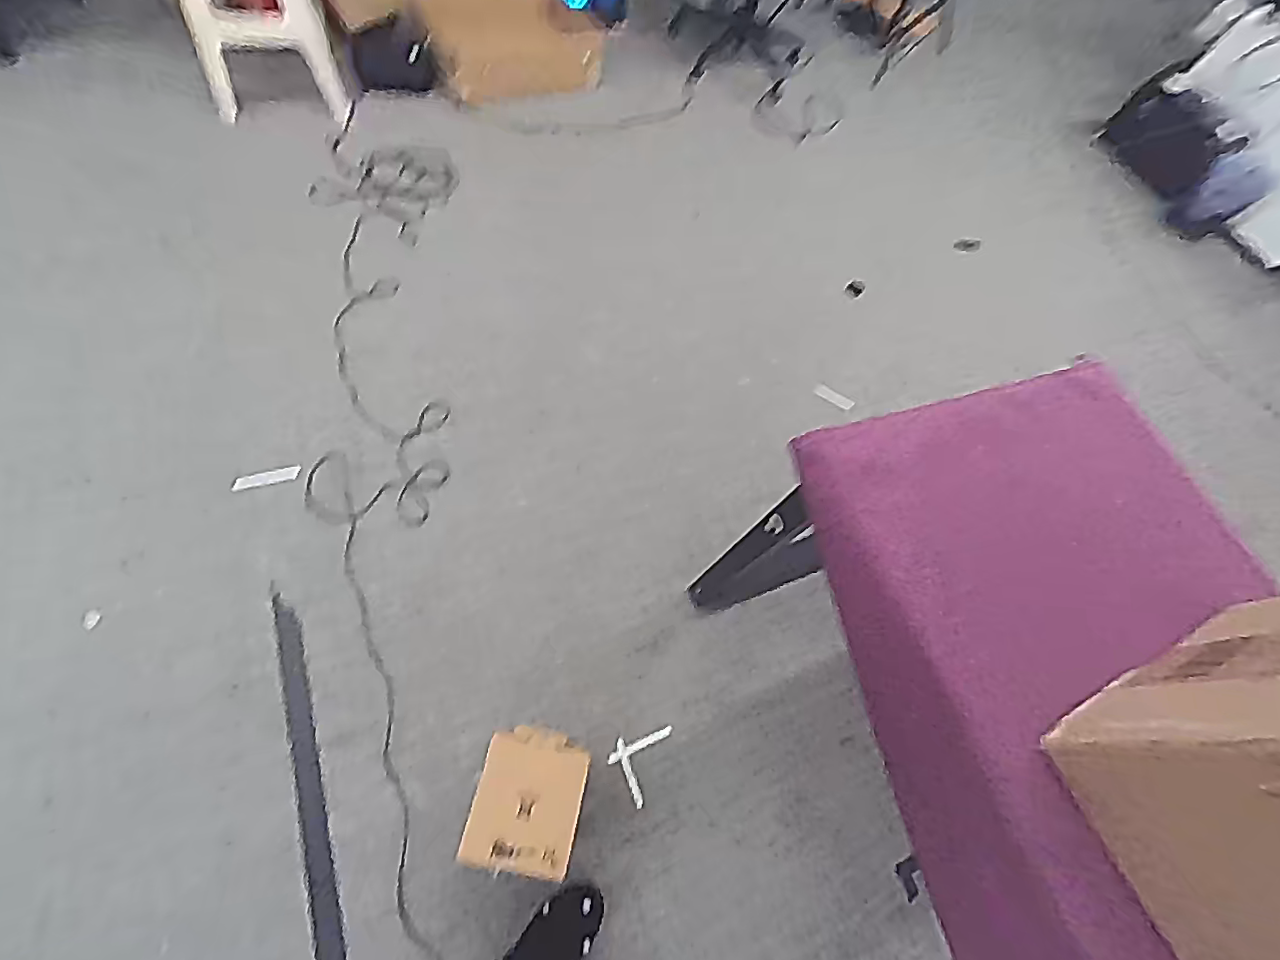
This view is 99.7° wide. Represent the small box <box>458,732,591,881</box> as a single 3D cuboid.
[{"bbox_3d":[-0.190,0.535,0.905,0.168,0.176,0.179,15,62,-5],"label":"small box"}]
